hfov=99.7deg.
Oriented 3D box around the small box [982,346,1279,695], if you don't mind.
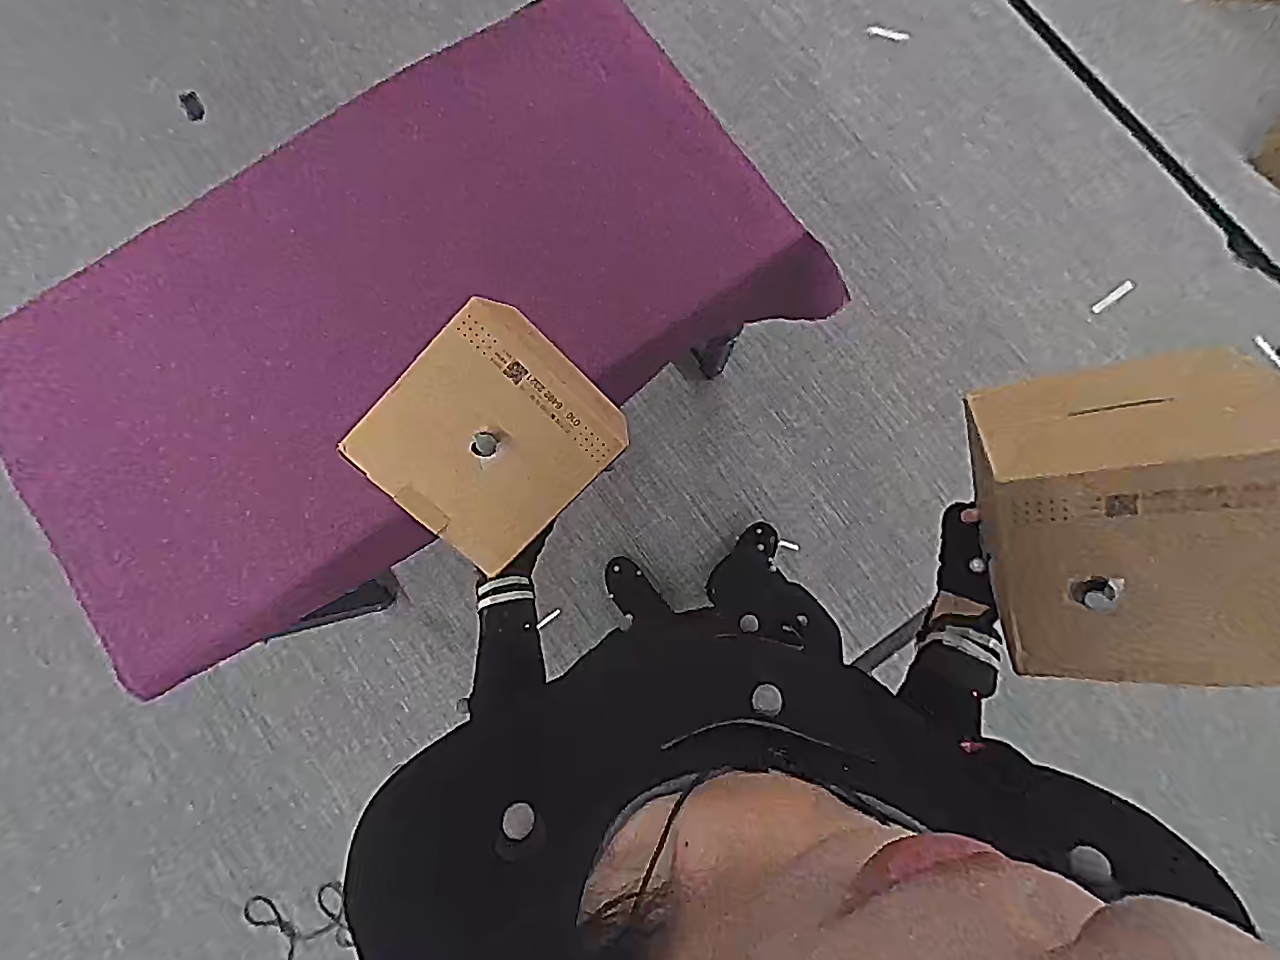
[{"bbox_3d":[0.350,0.022,0.380,0.168,0.179,0.176,-7,115,28],"label":"small box"}]
